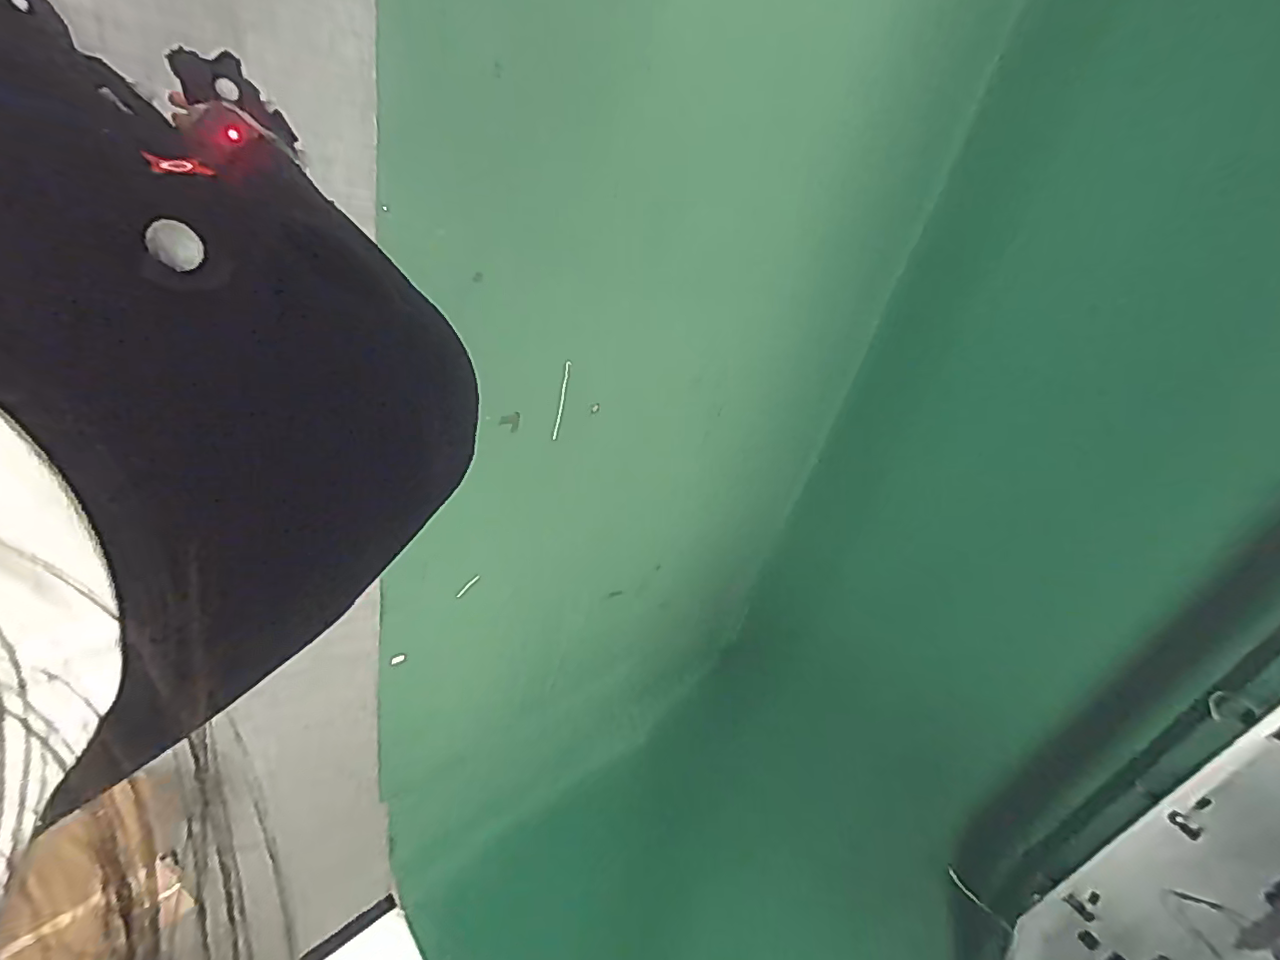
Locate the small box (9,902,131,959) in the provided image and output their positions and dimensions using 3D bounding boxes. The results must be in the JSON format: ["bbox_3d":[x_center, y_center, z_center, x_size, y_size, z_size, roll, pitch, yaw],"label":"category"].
[{"bbox_3d":[-1.370,1.183,1.306,0.179,0.176,0.168,-19,131,-40],"label":"small box"}]
